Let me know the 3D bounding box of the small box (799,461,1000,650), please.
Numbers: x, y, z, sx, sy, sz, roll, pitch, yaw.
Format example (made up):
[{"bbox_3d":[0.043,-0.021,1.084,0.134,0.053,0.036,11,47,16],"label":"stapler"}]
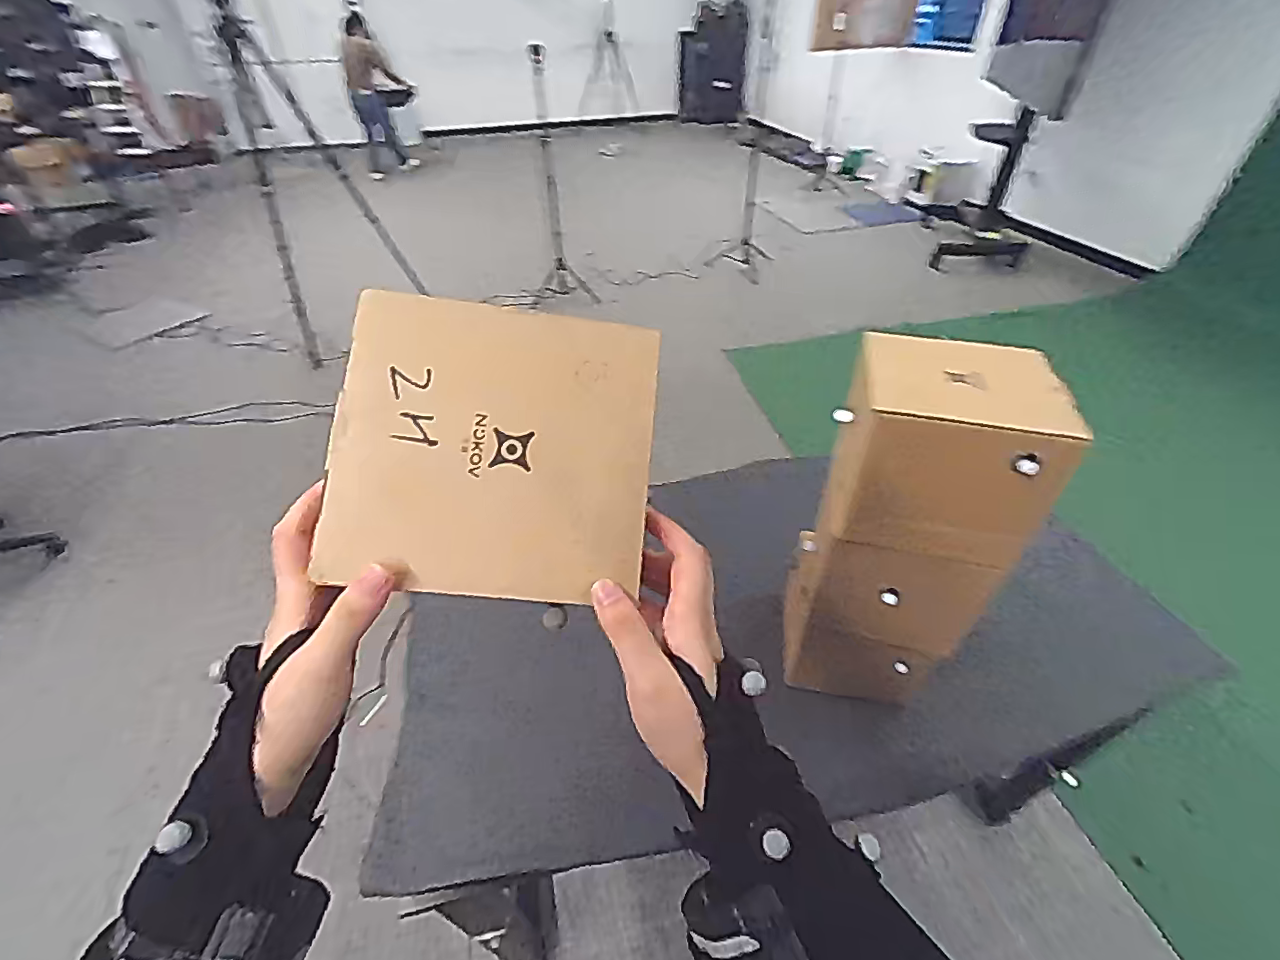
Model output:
[{"bbox_3d":[0.310,0.087,0.678,0.179,0.176,0.168,11,42,14],"label":"small box"}]

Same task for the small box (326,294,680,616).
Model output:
[{"bbox_3d":[-0.079,-0.004,0.379,0.179,0.176,0.168,7,80,-5],"label":"small box"}]

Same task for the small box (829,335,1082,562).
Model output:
[{"bbox_3d":[0.304,-0.034,0.571,0.179,0.176,0.168,10,42,12],"label":"small box"}]
